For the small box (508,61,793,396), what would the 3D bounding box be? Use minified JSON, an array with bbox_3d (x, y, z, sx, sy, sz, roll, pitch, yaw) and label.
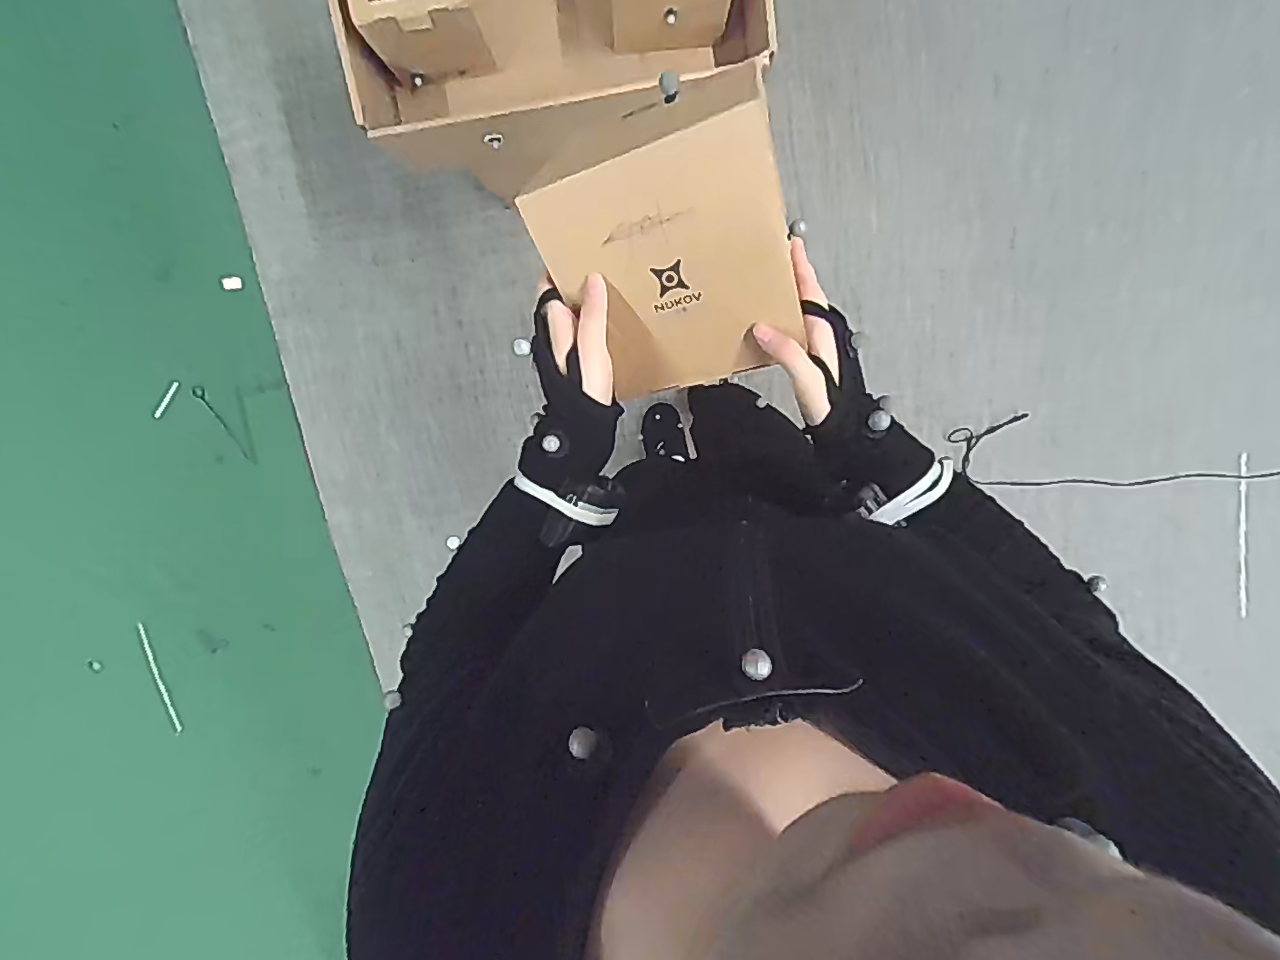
[{"bbox_3d":[0.027,-0.199,0.441,0.168,0.176,0.179,-10,131,20],"label":"small box"}]
